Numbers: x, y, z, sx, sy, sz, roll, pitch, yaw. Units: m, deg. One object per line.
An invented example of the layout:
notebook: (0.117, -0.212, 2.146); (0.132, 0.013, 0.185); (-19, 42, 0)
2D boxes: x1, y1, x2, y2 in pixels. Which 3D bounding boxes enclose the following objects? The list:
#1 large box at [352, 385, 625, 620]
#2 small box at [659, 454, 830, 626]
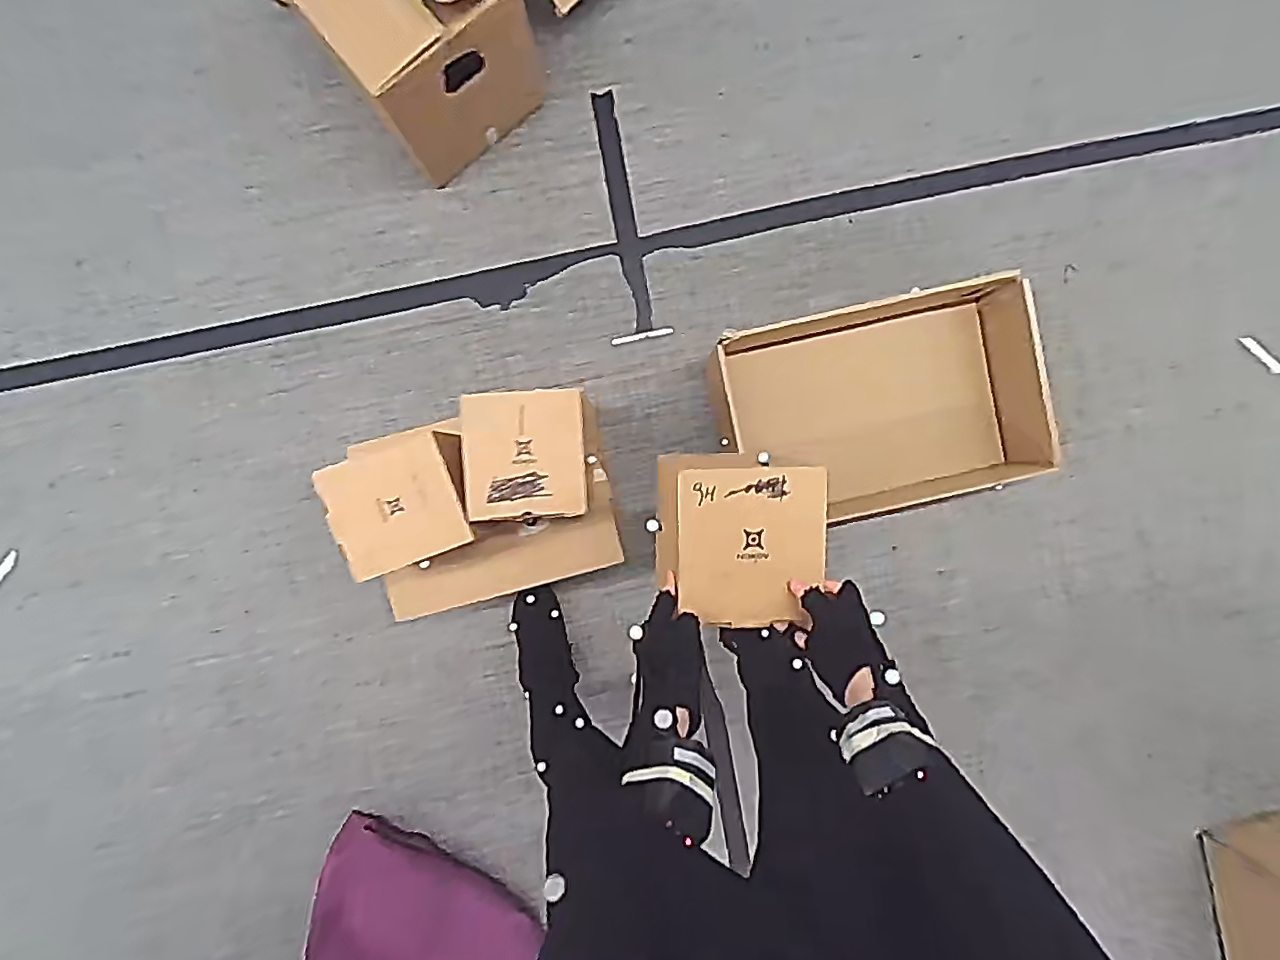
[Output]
large box: (-0.263, 0.036, 1.067); (0.408, 0.320, 0.320); (-16, 93, -2)
small box: (0.117, 0.063, 0.670); (0.168, 0.176, 0.179); (-1, 98, -6)
